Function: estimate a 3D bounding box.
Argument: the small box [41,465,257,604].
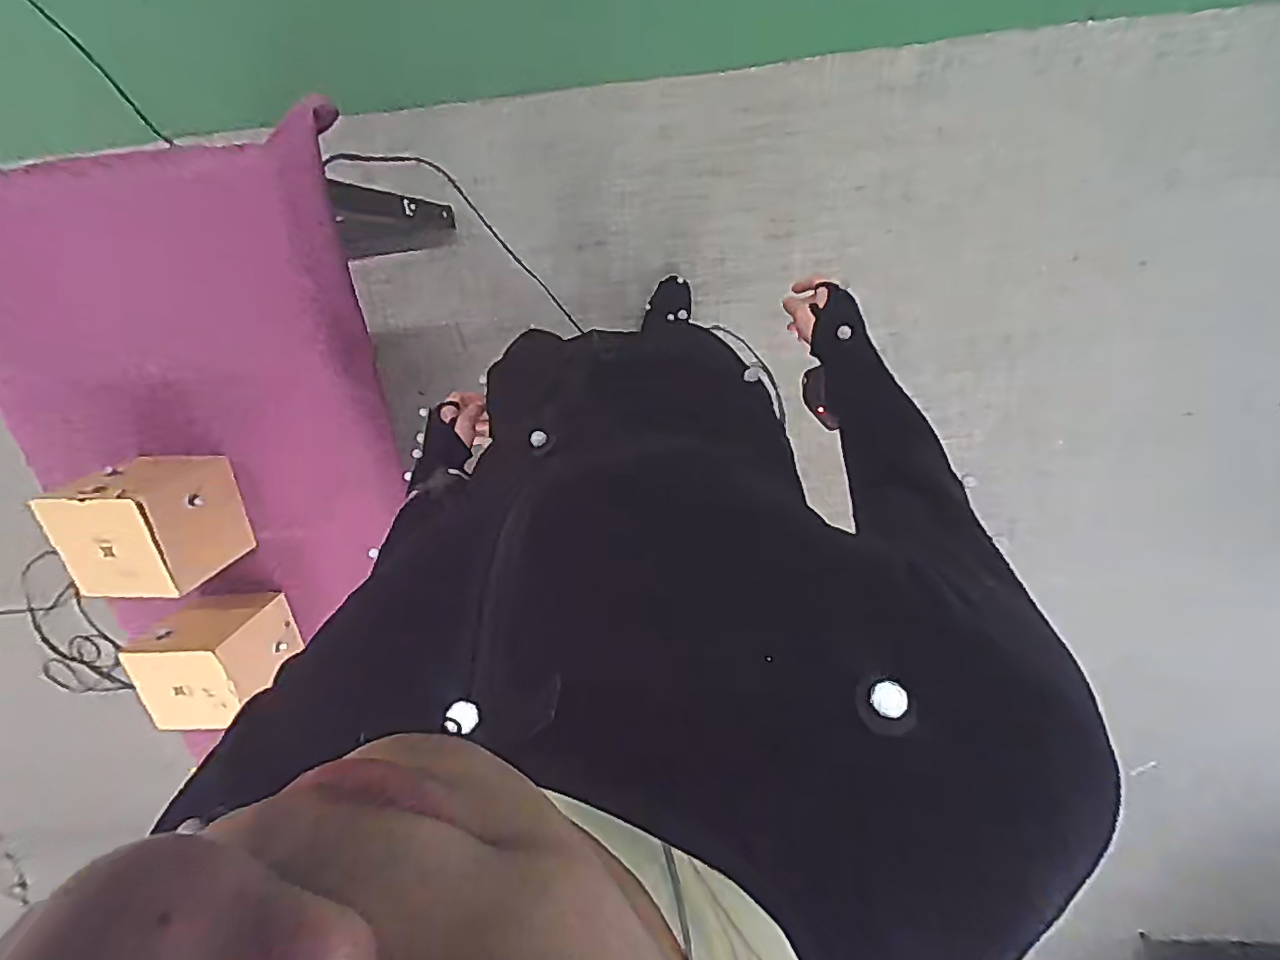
[{"bbox_3d":[-0.775,0.080,0.877,0.168,0.176,0.179,0,112,4],"label":"small box"}]

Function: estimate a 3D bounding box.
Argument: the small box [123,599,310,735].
[{"bbox_3d":[-0.745,0.331,0.974,0.179,0.176,0.168,-4,112,4],"label":"small box"}]
